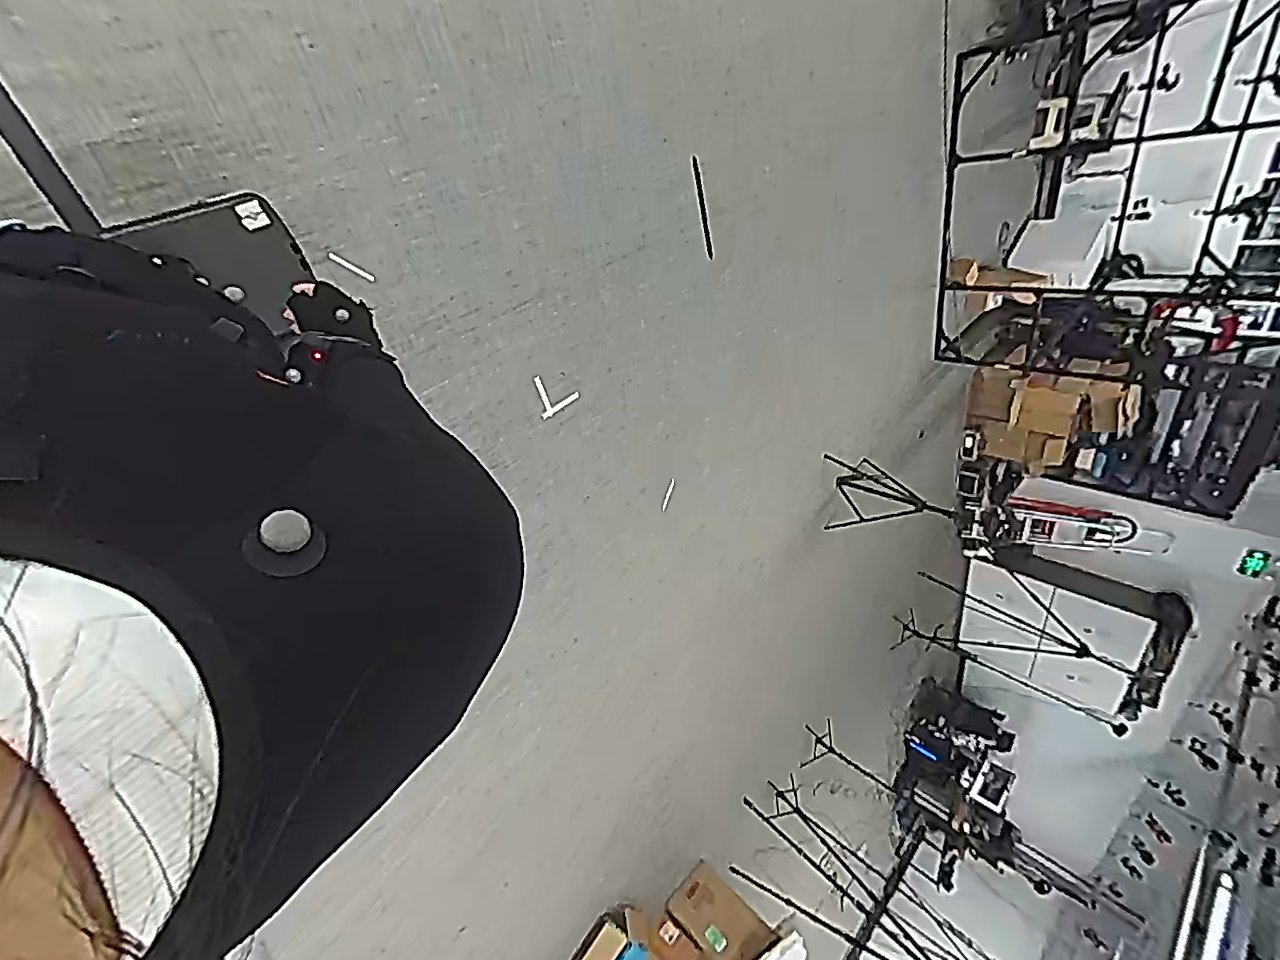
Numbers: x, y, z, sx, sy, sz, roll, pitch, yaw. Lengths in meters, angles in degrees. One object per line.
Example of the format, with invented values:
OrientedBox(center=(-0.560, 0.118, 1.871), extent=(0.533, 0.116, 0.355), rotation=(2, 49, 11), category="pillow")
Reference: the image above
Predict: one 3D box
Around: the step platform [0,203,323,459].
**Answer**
OrientedBox(center=(-1.047, -0.327, 1.108), extent=(0.684, 0.204, 0.286), rotation=(-39, 130, -29), category="step platform")
